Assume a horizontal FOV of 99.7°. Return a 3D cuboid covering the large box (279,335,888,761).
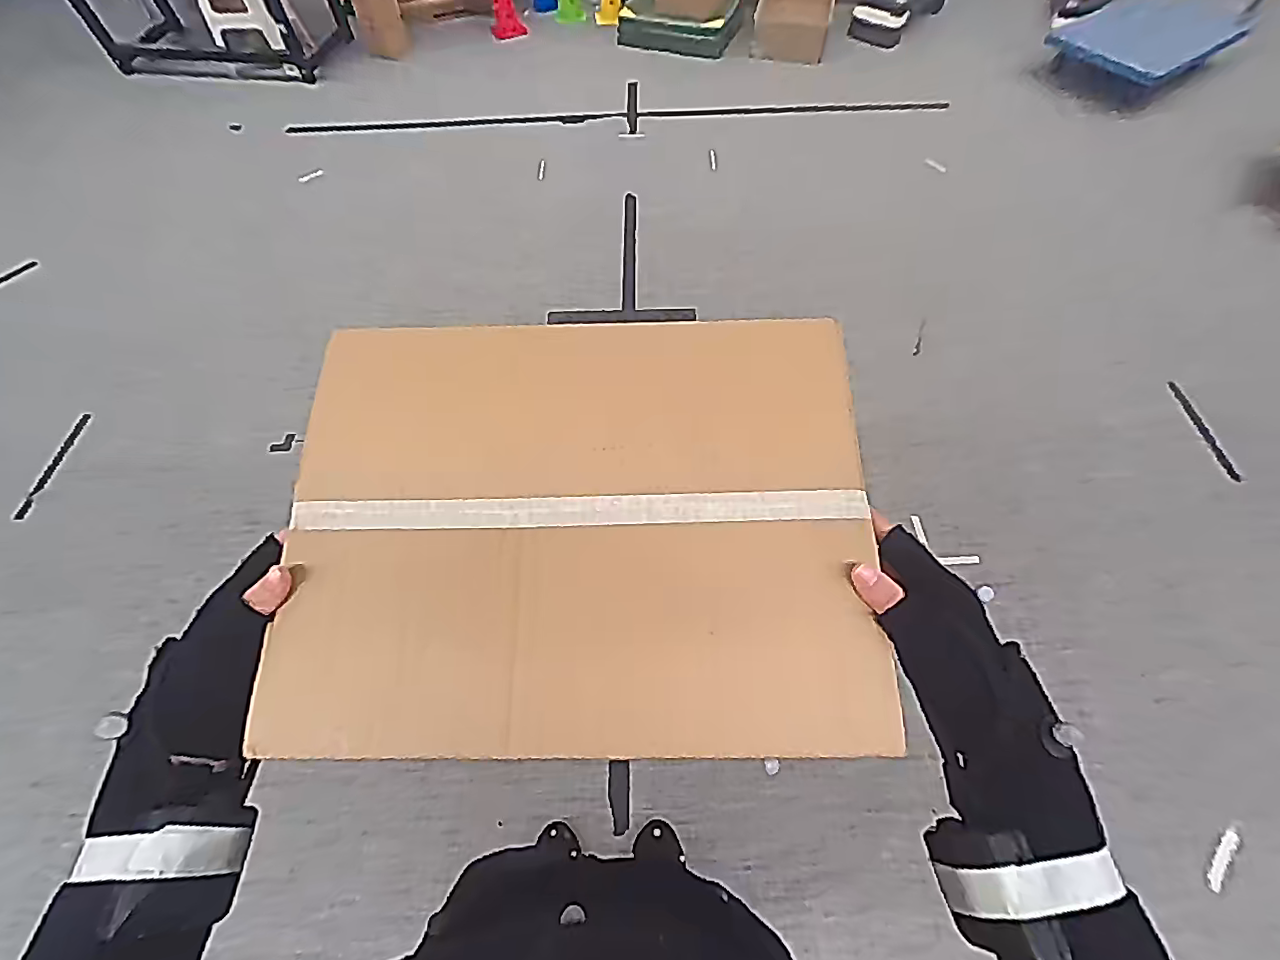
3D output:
[{"bbox_3d":[-0.035,0.080,0.536,0.408,0.320,0.320,-1,69,2],"label":"large box"}]
